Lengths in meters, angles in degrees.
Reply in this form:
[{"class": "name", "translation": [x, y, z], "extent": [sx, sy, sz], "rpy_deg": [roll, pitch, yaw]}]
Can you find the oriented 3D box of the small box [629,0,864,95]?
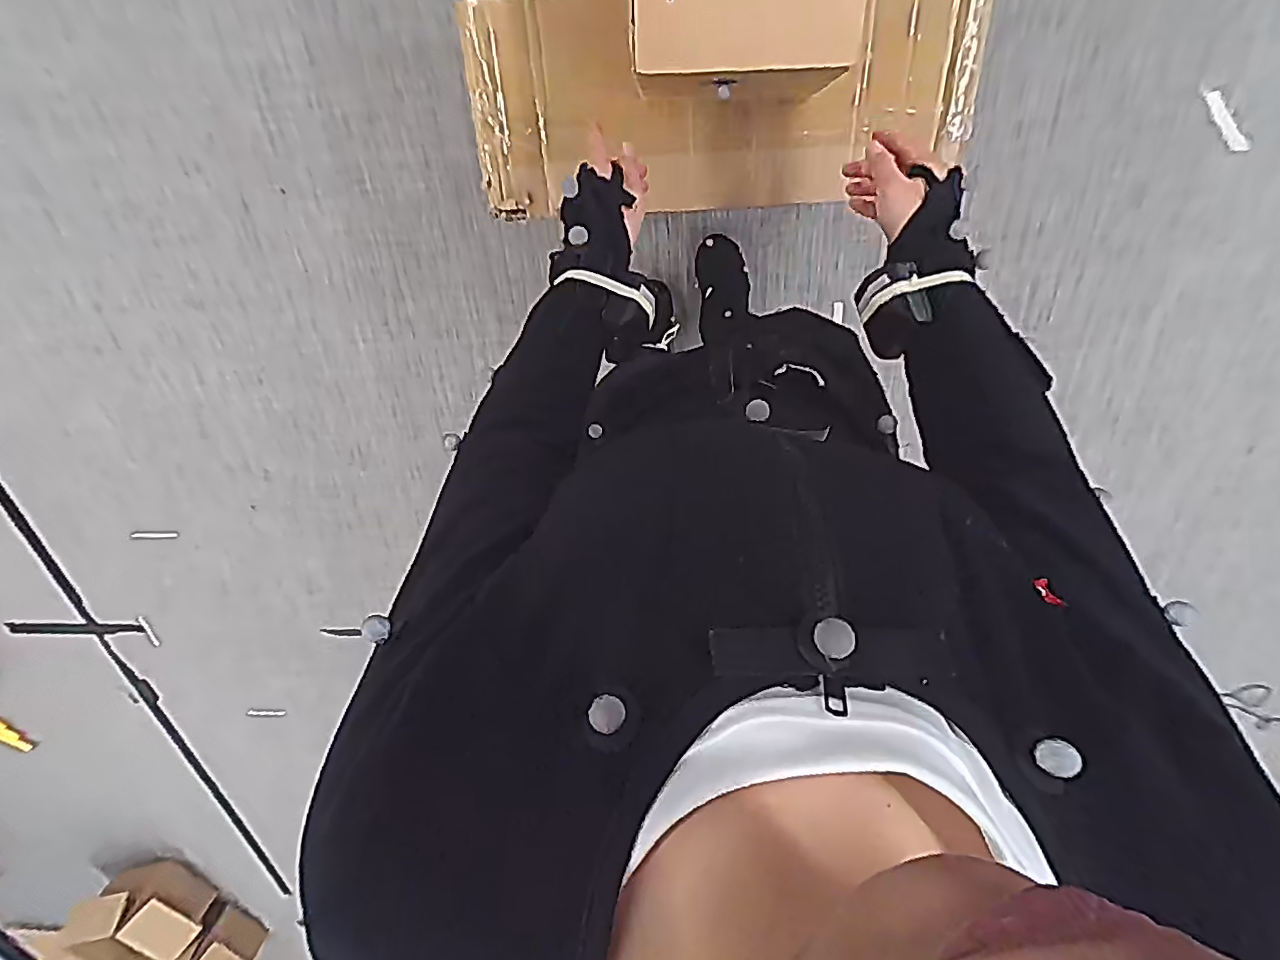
[{"class": "small box", "translation": [0.083, -0.435, 0.452], "extent": [0.179, 0.176, 0.168], "rpy_deg": [0, 118, 3]}]
